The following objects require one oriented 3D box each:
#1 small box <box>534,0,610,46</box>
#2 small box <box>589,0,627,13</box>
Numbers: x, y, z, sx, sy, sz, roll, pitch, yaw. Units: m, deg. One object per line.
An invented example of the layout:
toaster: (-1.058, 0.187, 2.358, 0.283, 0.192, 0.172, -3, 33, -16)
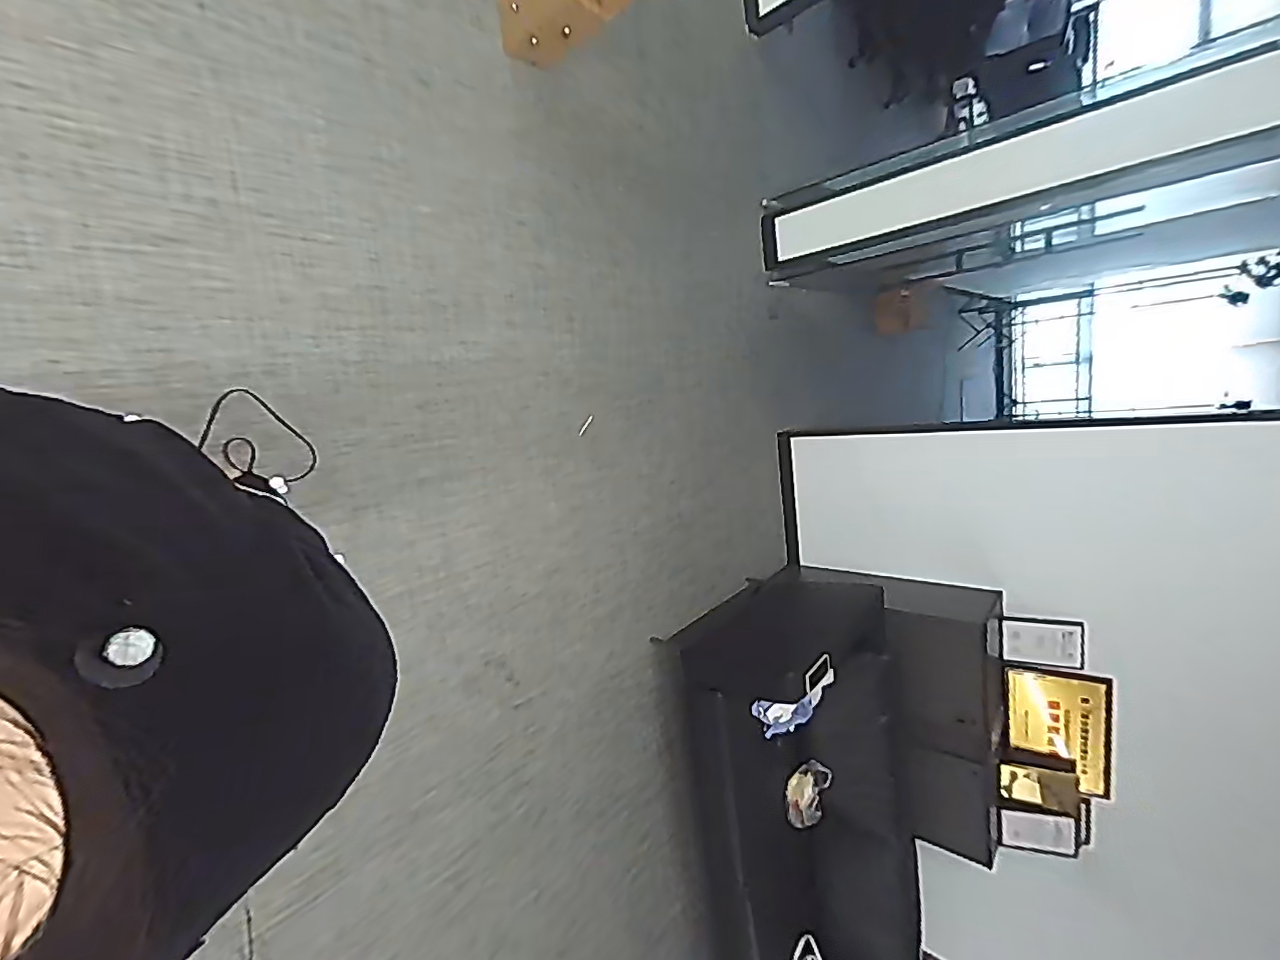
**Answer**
small box: (-0.212, -1.482, 1.638, 0.168, 0.176, 0.179, -12, 100, -46)
small box: (-0.094, -1.492, 1.526, 0.168, 0.176, 0.179, -8, 97, -47)
